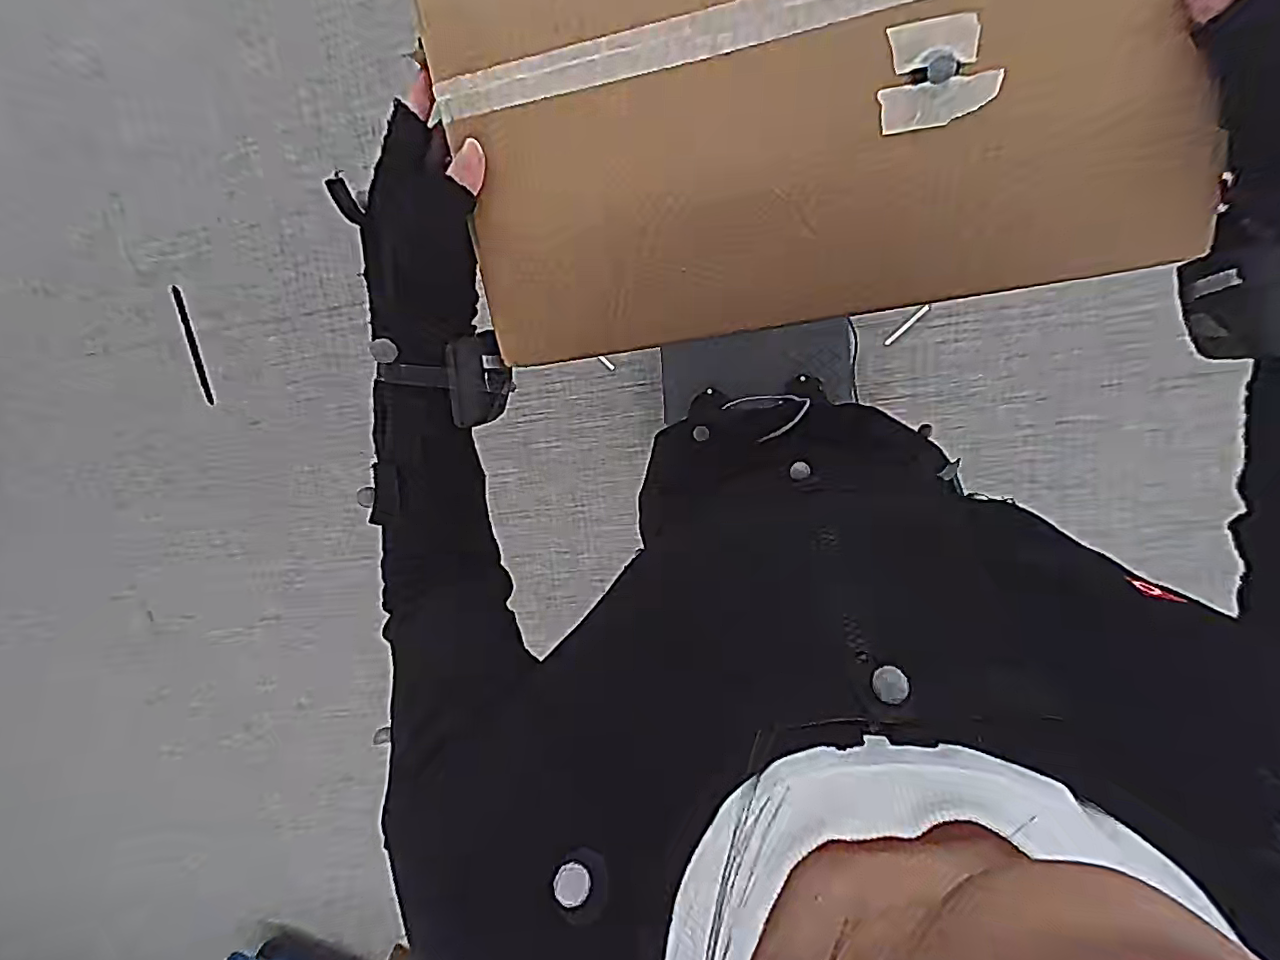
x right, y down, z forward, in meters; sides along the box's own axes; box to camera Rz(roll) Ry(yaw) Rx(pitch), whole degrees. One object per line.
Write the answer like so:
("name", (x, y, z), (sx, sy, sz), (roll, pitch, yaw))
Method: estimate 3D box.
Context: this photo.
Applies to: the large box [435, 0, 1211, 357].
("large box", (0.101, -0.300, 0.433), (0.408, 0.320, 0.320), (-7, 108, 10))
